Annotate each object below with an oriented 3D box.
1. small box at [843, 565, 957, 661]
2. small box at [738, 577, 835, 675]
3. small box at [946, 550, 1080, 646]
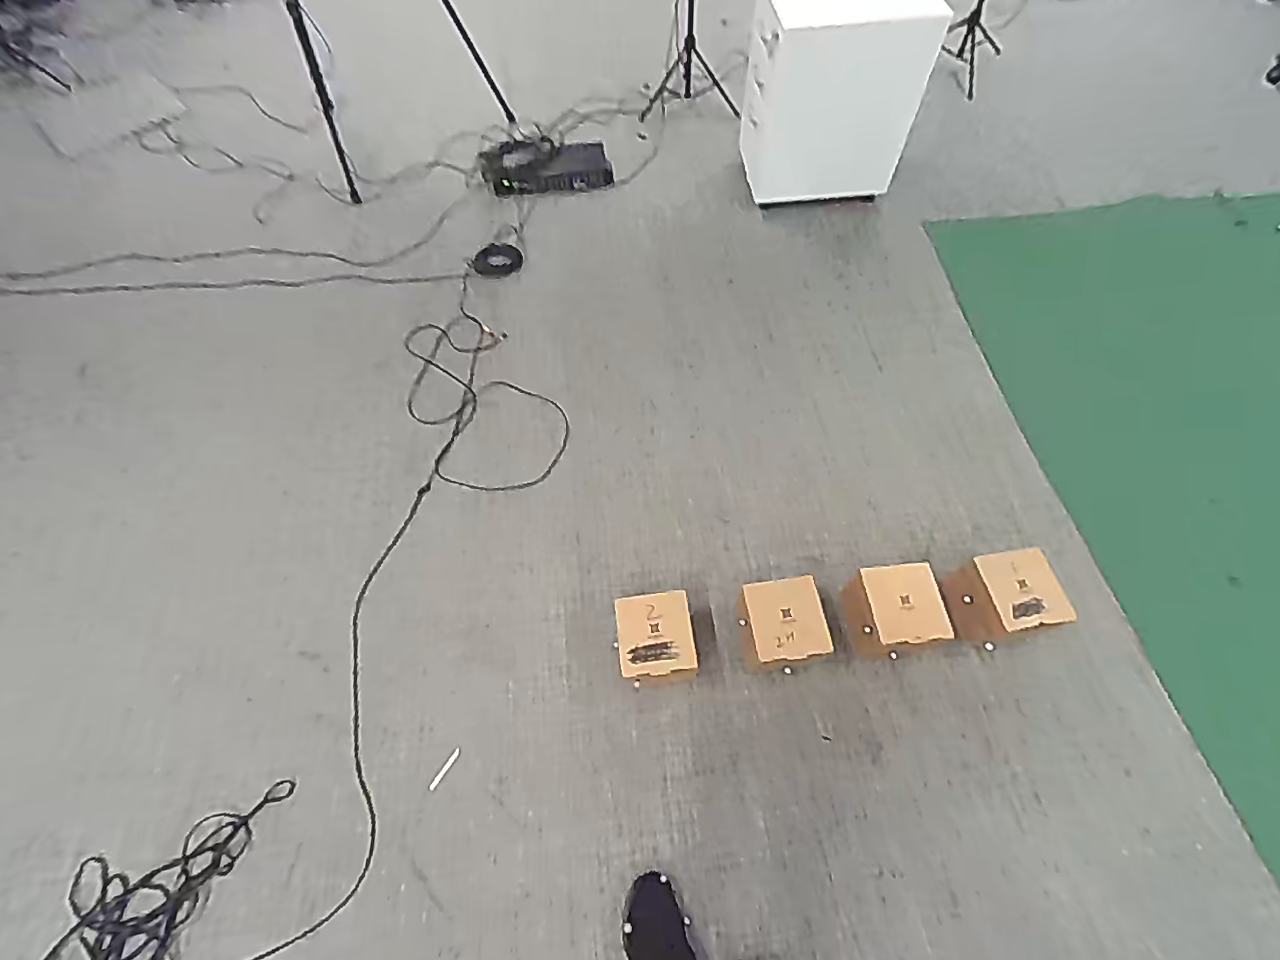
[{"bbox_3d":[0.598,0.315,1.272,0.168,0.176,0.179,-5,61,-1],"label":"small box"},{"bbox_3d":[0.332,0.344,1.264,0.168,0.176,0.179,-7,62,0],"label":"small box"},{"bbox_3d":[0.866,0.285,1.276,0.168,0.176,0.179,-8,61,-2],"label":"small box"}]
